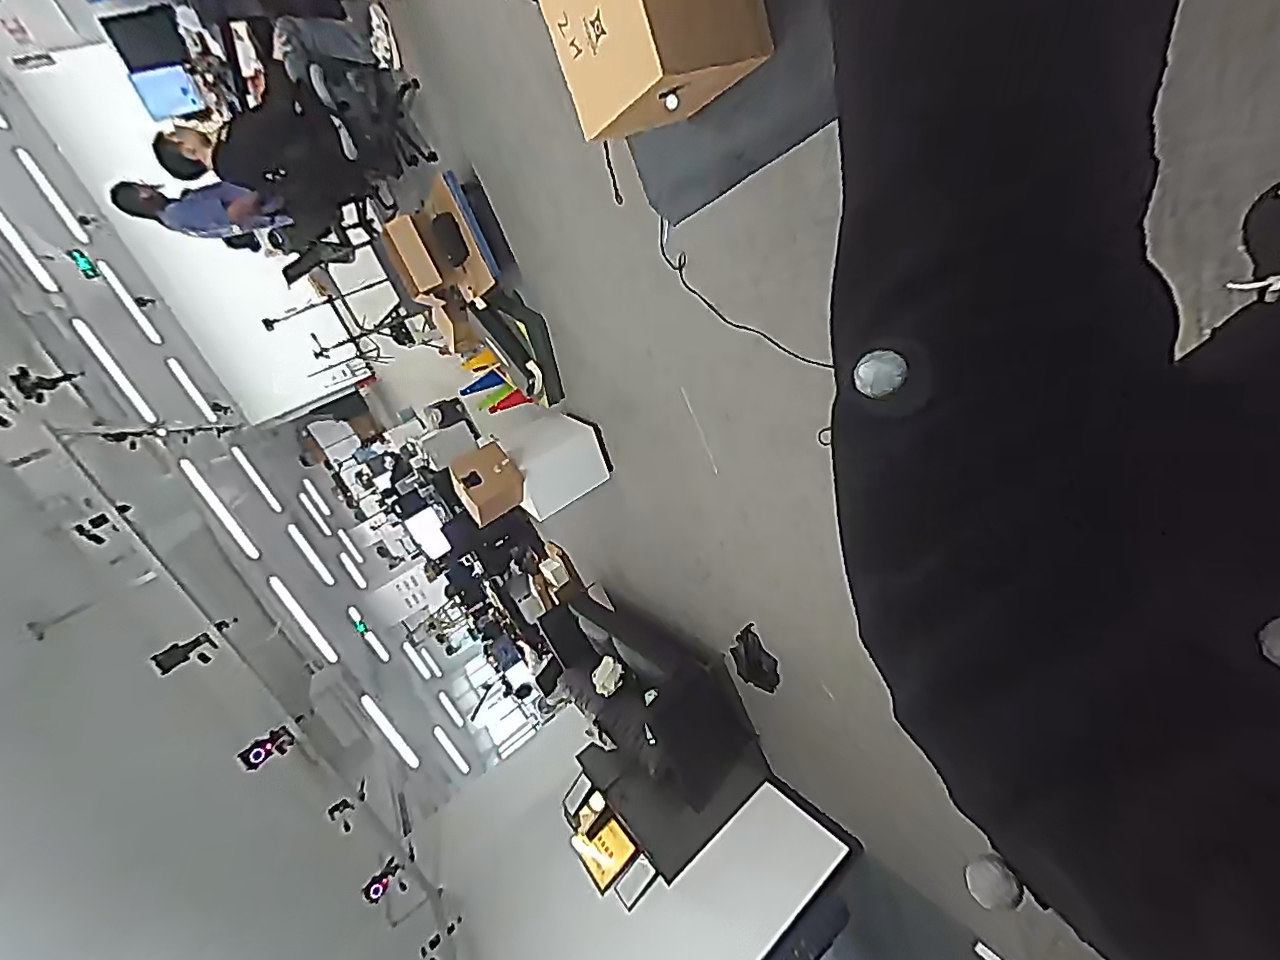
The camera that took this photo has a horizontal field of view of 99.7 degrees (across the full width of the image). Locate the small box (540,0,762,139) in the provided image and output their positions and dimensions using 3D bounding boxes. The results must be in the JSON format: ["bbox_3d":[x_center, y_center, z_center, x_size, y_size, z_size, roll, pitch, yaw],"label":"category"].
[{"bbox_3d":[0.017,-0.526,0.614,0.179,0.176,0.168,14,130,57],"label":"small box"}]
